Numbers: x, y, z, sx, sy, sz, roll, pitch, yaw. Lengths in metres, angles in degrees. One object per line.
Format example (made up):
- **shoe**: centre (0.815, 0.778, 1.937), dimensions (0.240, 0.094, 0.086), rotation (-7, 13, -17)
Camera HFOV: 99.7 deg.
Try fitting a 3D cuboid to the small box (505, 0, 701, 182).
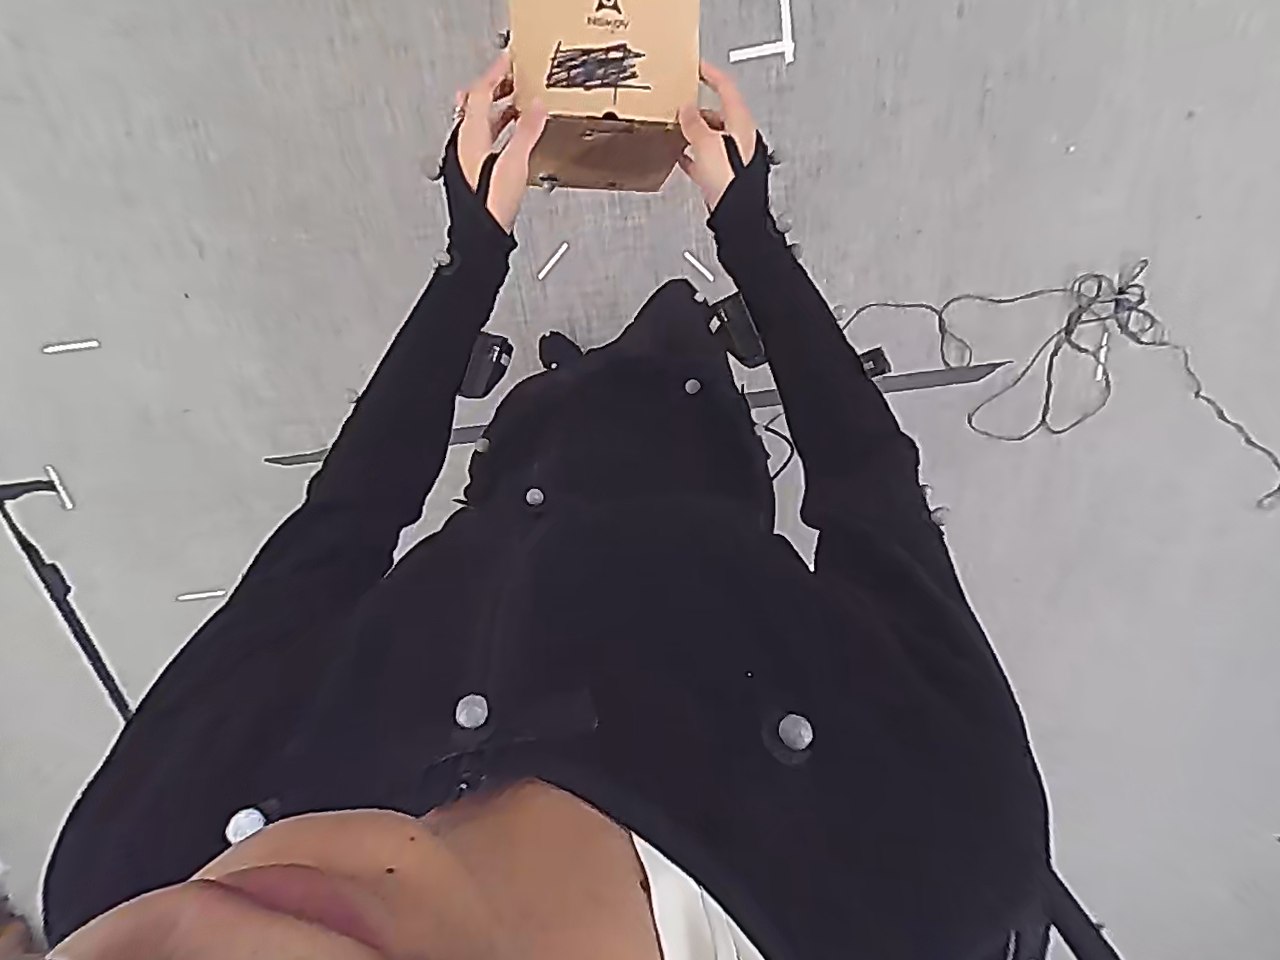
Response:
- **small box**: centre (-0.043, -0.411, 0.525), dimensions (0.168, 0.176, 0.179), rotation (-3, 100, -11)
